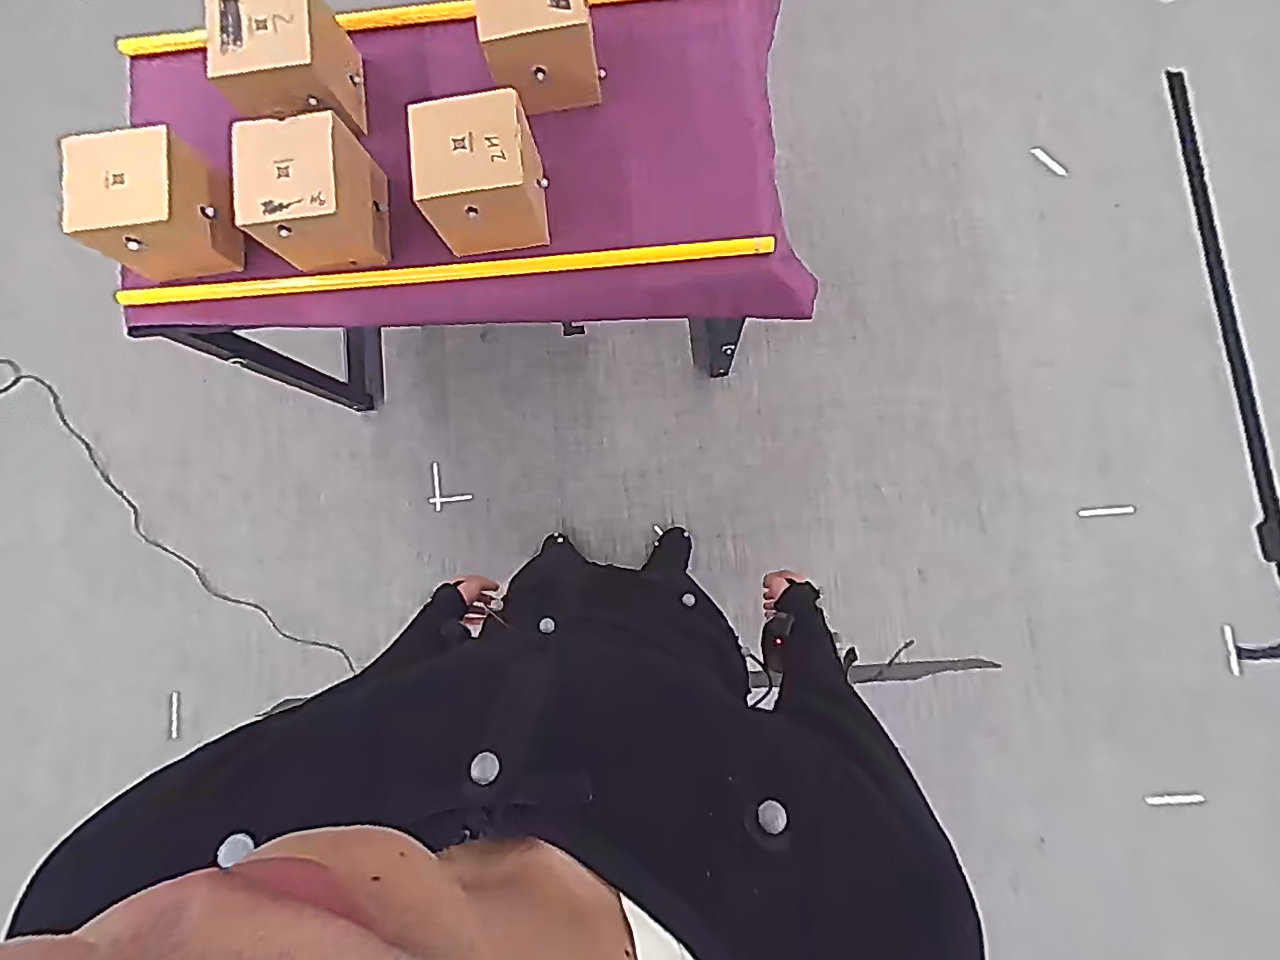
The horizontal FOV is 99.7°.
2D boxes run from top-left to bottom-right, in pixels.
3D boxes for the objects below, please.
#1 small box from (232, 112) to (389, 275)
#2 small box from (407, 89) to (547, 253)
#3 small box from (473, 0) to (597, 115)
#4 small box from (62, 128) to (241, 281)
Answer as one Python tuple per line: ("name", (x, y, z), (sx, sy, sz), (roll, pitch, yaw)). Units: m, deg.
("small box", (-0.550, -0.478, 0.923), (0.168, 0.176, 0.179), (-5, 84, 4))
("small box", (-0.265, -0.502, 0.906), (0.179, 0.176, 0.168), (-7, 83, 3))
("small box", (-0.173, -0.768, 0.925), (0.179, 0.176, 0.168), (-8, 85, 4))
("small box", (-0.831, -0.467, 0.939), (0.179, 0.176, 0.168), (-7, 84, 2))
